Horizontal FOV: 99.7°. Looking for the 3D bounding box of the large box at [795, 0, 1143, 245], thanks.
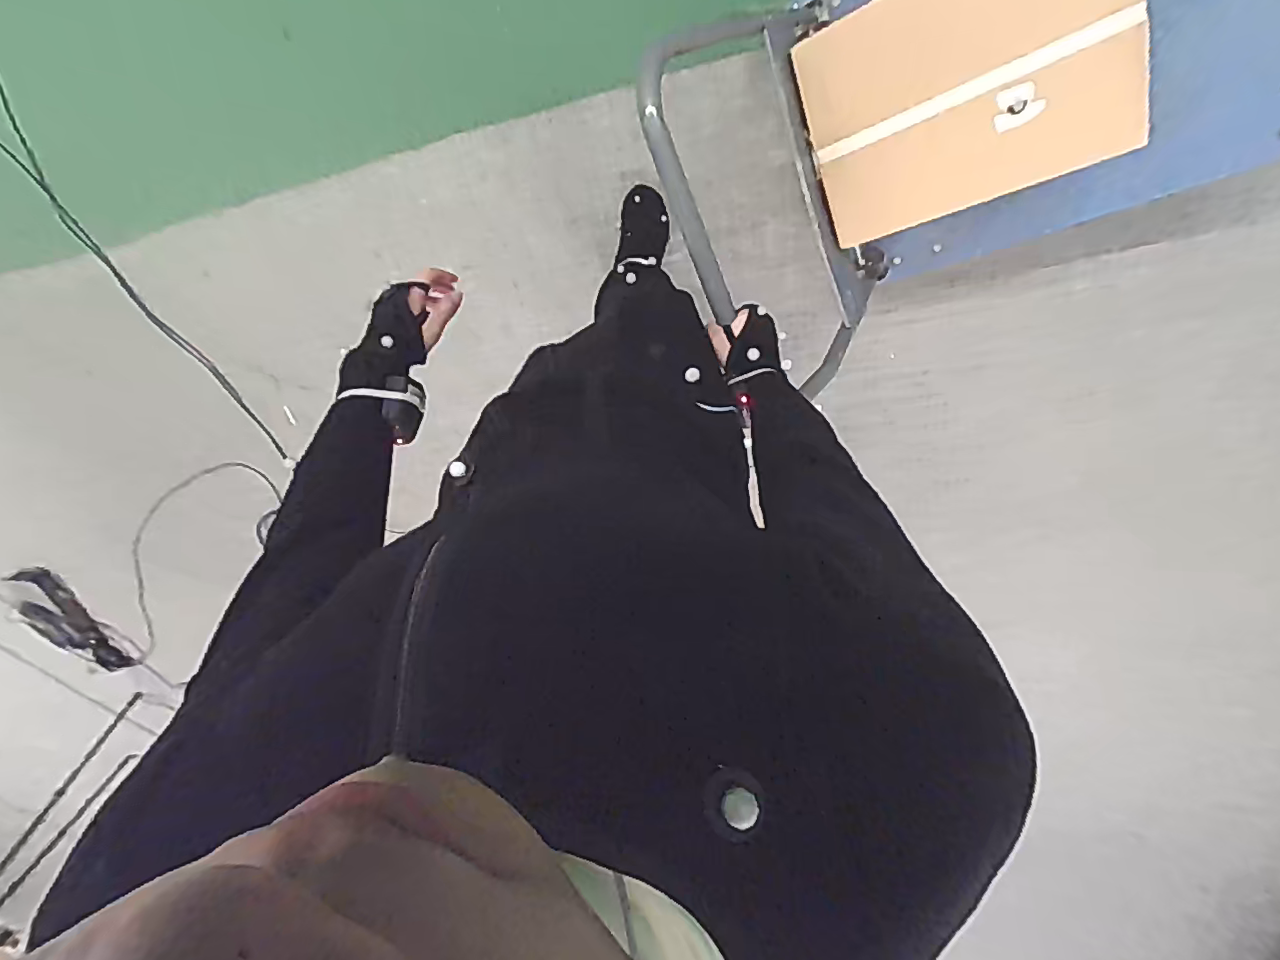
[{"bbox_3d":[0.515,-0.643,0.888,0.408,0.320,0.320,-8,121,33],"label":"large box"}]
